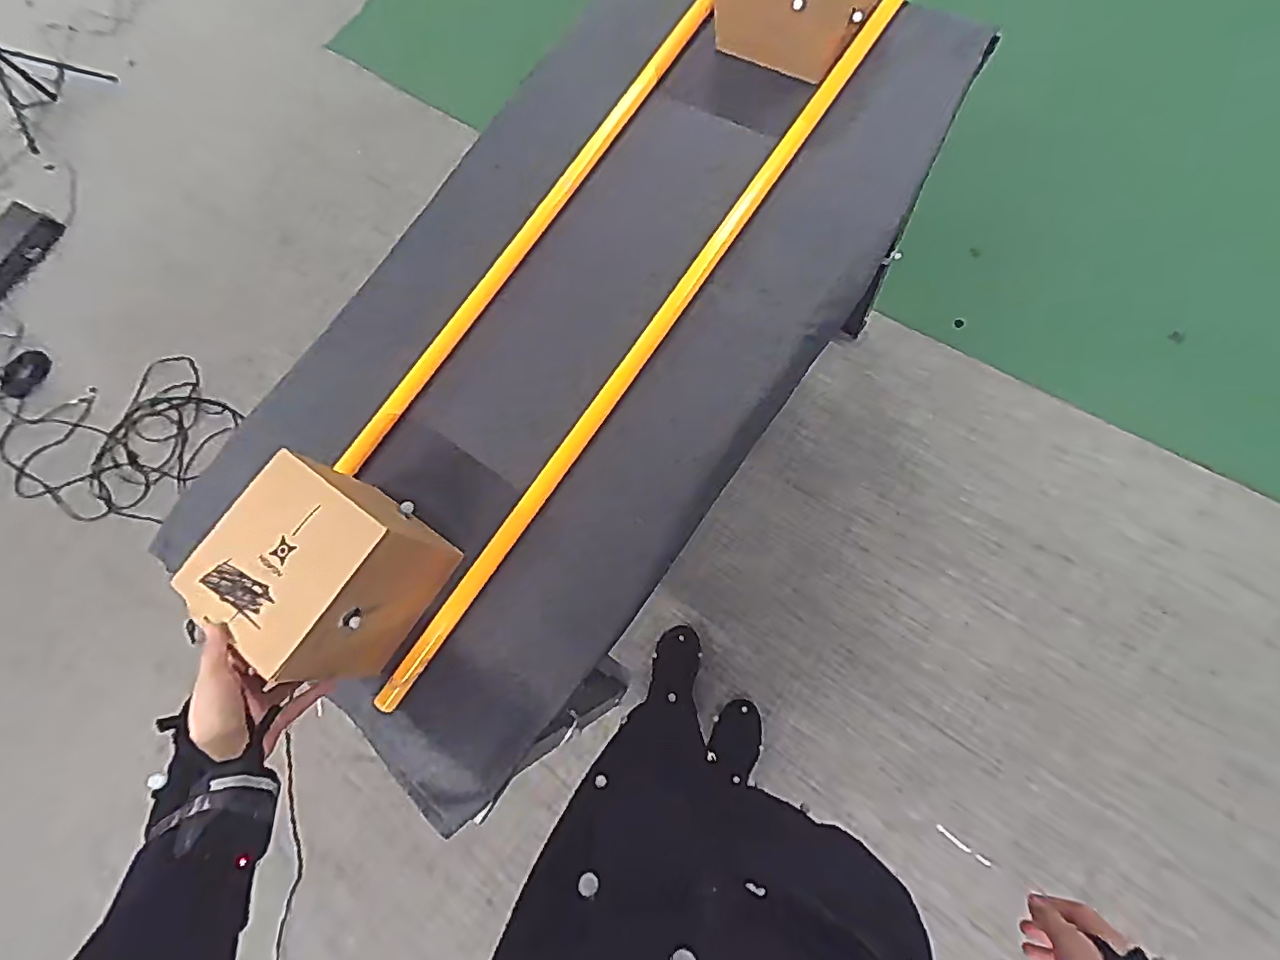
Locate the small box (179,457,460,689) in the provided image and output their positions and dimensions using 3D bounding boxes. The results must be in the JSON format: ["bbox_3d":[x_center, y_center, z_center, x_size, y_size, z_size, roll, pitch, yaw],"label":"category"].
[{"bbox_3d":[-0.340,0.108,0.610,0.168,0.176,0.179,32,80,16],"label":"small box"}]
